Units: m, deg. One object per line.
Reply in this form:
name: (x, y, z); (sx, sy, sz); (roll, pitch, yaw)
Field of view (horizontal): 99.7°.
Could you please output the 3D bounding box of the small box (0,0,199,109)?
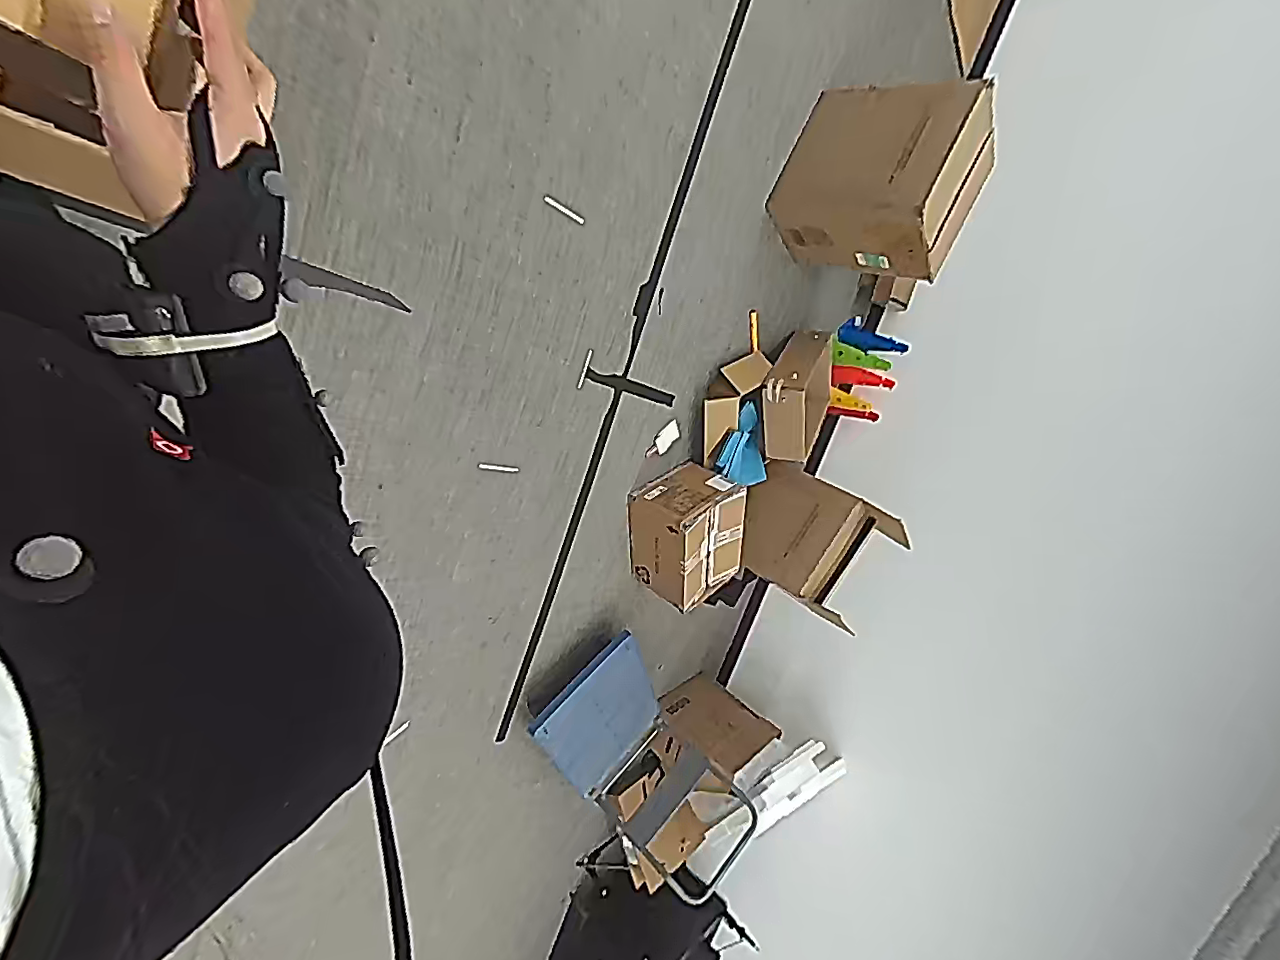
small box: (-0.332, -0.315, 0.257); (0.179, 0.176, 0.168); (11, 102, -53)
